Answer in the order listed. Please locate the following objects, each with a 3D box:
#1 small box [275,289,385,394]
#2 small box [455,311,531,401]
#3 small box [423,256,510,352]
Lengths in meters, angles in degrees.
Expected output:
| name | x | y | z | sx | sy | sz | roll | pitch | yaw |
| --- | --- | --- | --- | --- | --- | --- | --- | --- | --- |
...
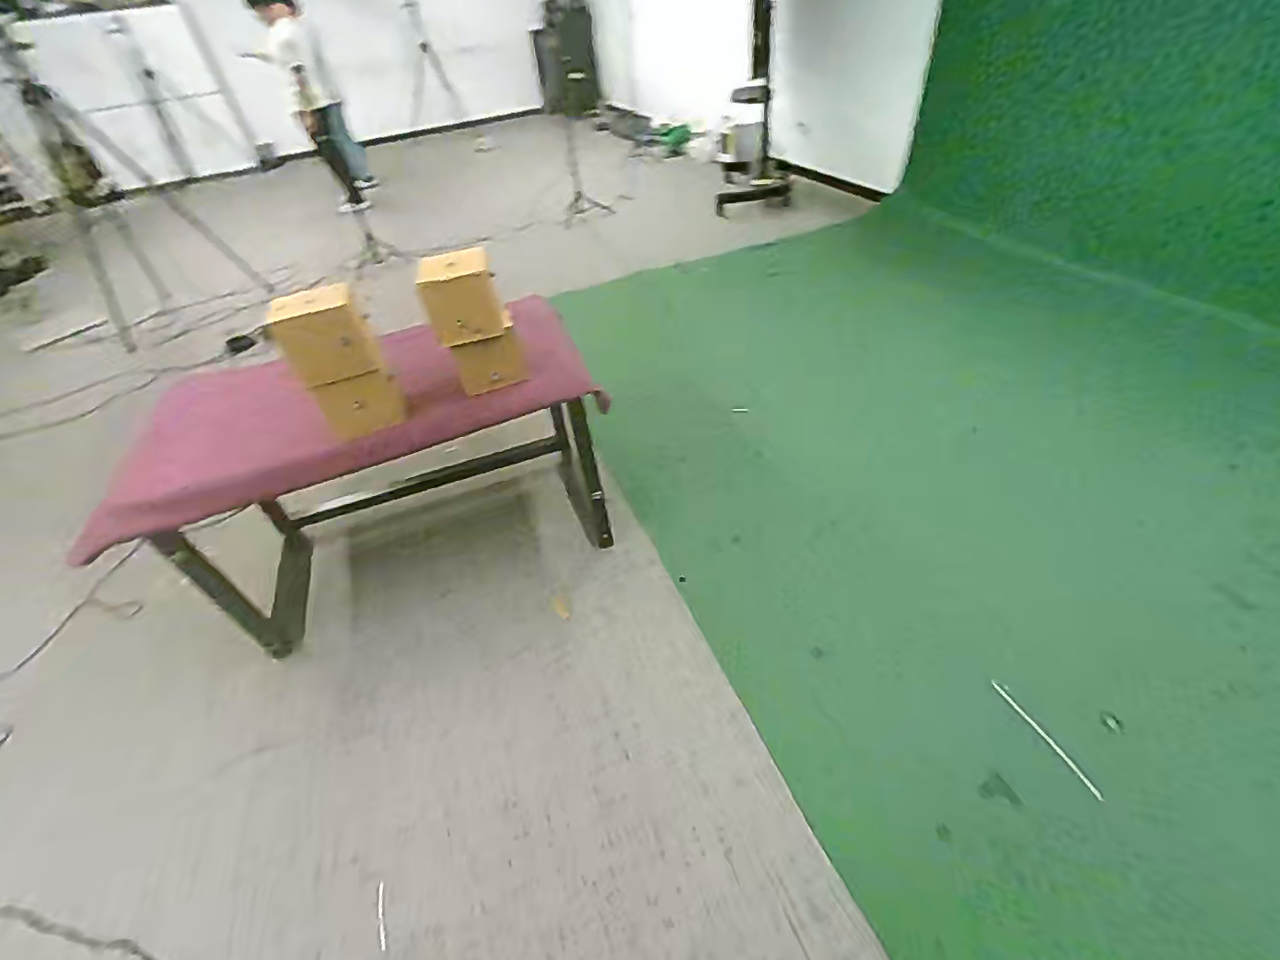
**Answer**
| name | x | y | z | sx | sy | sz | roll | pitch | yaw |
| --- | --- | --- | --- | --- | --- | --- | --- | --- | --- |
| small box | -0.734 | -0.334 | 1.305 | 0.179 | 0.176 | 0.168 | -19 | 41 | -10 |
| small box | -0.414 | -0.345 | 1.512 | 0.179 | 0.176 | 0.168 | -19 | 41 | -11 |
| small box | -0.439 | -0.451 | 1.388 | 0.168 | 0.176 | 0.179 | -14 | 42 | -5 |
